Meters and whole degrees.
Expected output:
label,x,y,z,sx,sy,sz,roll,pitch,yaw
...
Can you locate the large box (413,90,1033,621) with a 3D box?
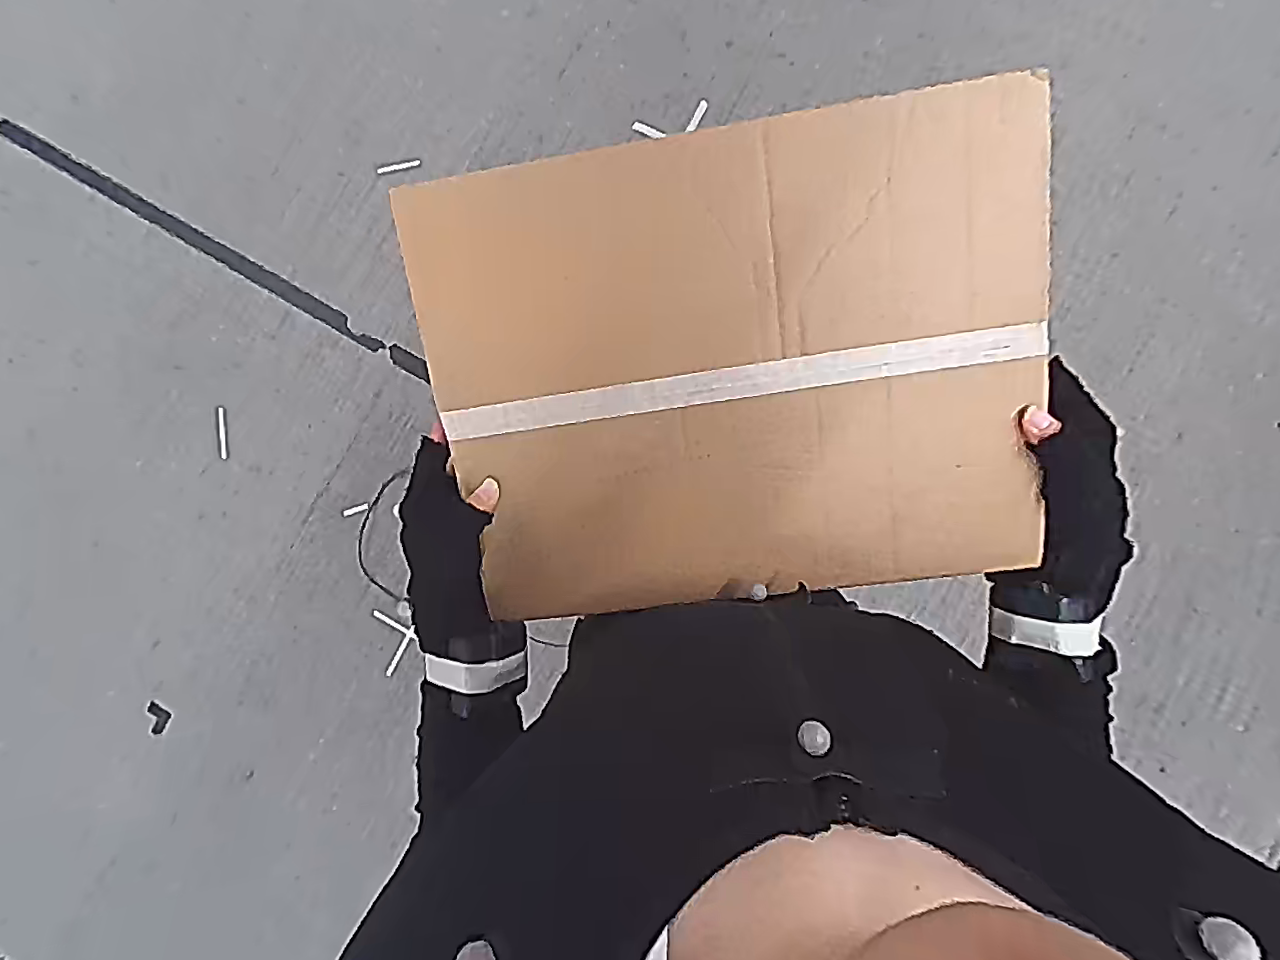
label,x,y,z,sx,sy,sz,roll,pitch,yaw
large box,0.070,-0.094,0.522,0.408,0.320,0.320,-7,103,5
